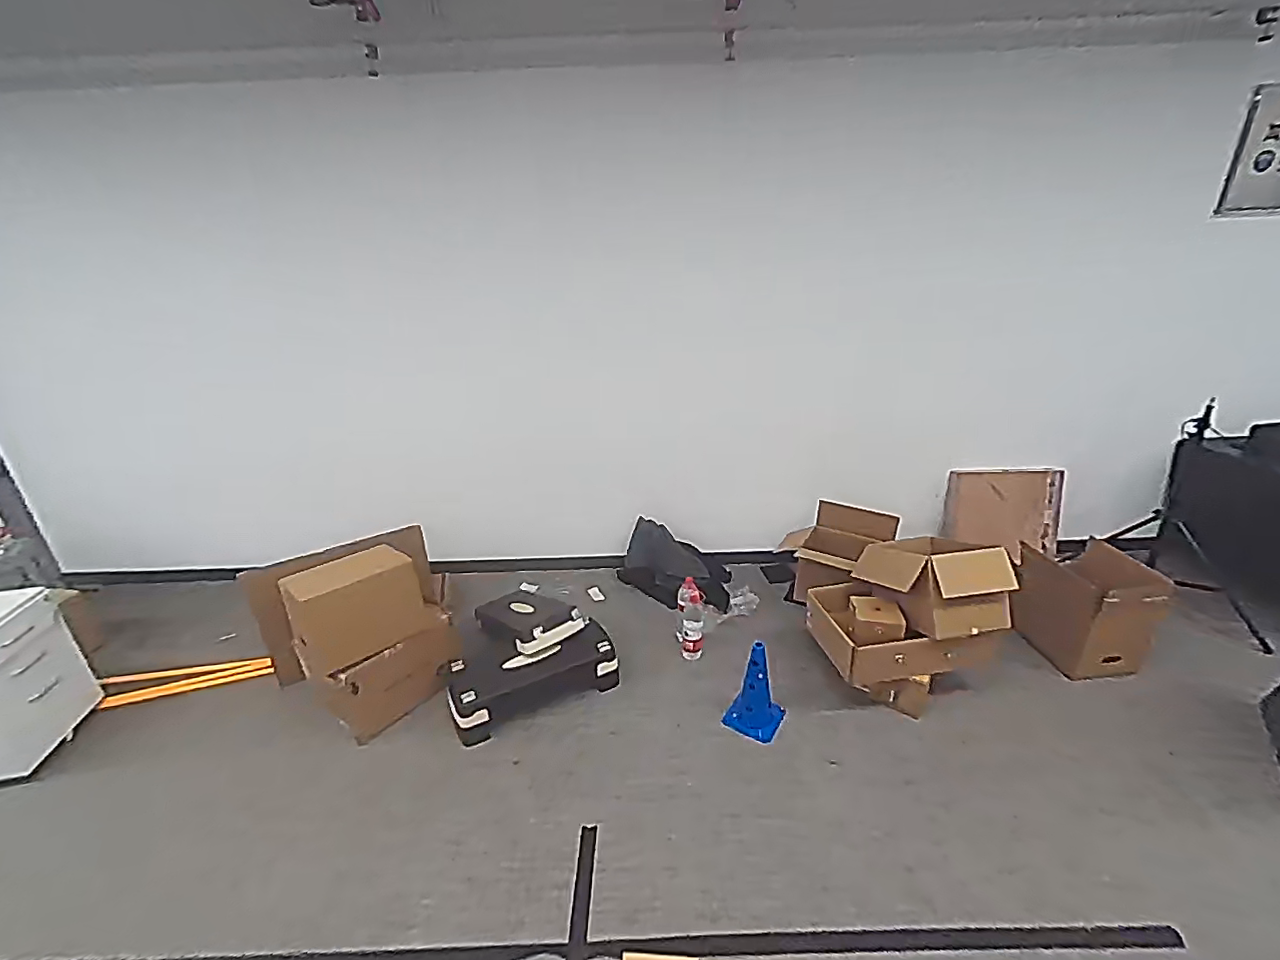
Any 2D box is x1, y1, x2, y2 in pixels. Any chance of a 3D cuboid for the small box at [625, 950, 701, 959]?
[{"bbox_3d":[0.043,1.123,1.111,0.168,0.176,0.179,1,24,5],"label":"small box"}]
